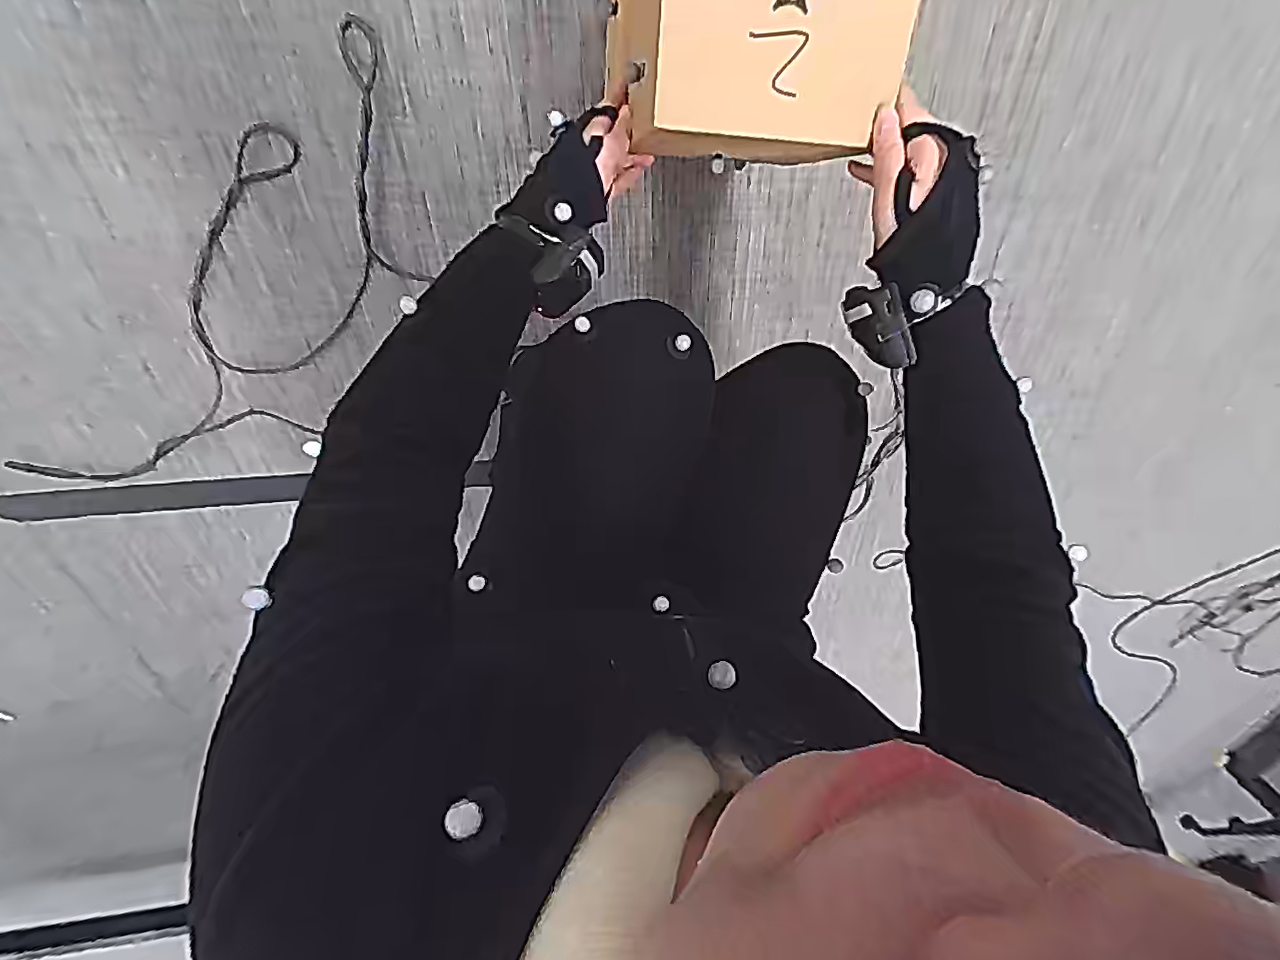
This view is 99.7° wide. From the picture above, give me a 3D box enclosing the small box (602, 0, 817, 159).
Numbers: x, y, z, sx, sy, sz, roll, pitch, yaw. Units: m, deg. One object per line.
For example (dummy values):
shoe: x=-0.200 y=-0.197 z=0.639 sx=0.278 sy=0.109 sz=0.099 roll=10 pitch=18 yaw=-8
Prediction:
small box: x=0.055 y=-0.428 z=0.544 sx=0.179 sy=0.176 sz=0.168 roll=-1 pitch=123 yaw=-10
